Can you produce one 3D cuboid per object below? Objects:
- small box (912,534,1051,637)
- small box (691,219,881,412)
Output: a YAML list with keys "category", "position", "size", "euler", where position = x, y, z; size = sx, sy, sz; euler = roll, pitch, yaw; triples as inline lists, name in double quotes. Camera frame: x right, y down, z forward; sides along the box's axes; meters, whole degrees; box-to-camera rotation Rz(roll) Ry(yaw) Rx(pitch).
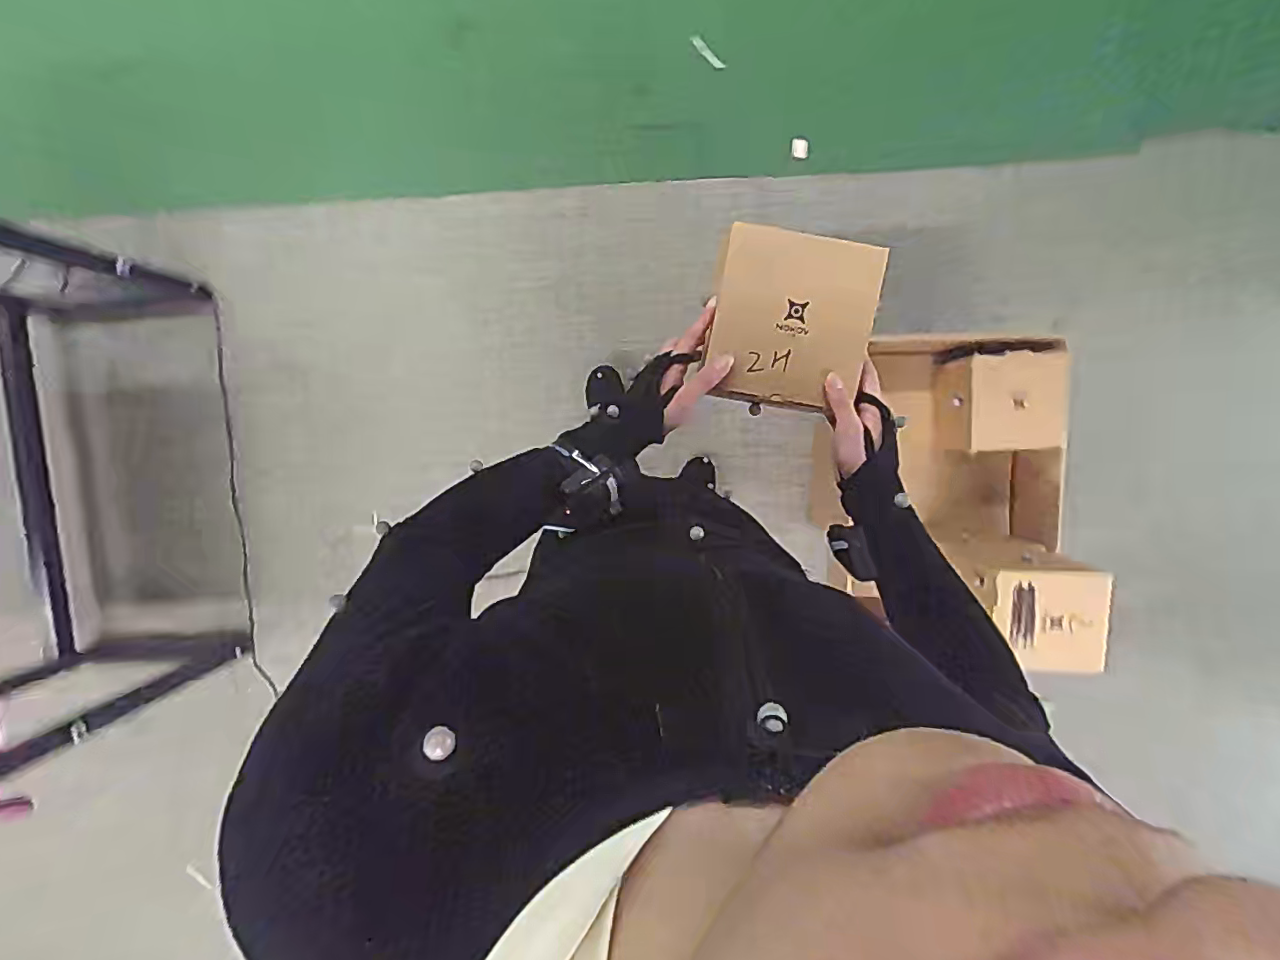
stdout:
- category: "small box"
  position: [0.683, 0.206, 1.098]
  size: [0.179, 0.176, 0.168]
  euler: [1, 96, 5]
- category: "small box"
  position: [0.157, -0.181, 0.644]
  size: [0.168, 0.176, 0.179]
  euler: [9, 98, 1]
